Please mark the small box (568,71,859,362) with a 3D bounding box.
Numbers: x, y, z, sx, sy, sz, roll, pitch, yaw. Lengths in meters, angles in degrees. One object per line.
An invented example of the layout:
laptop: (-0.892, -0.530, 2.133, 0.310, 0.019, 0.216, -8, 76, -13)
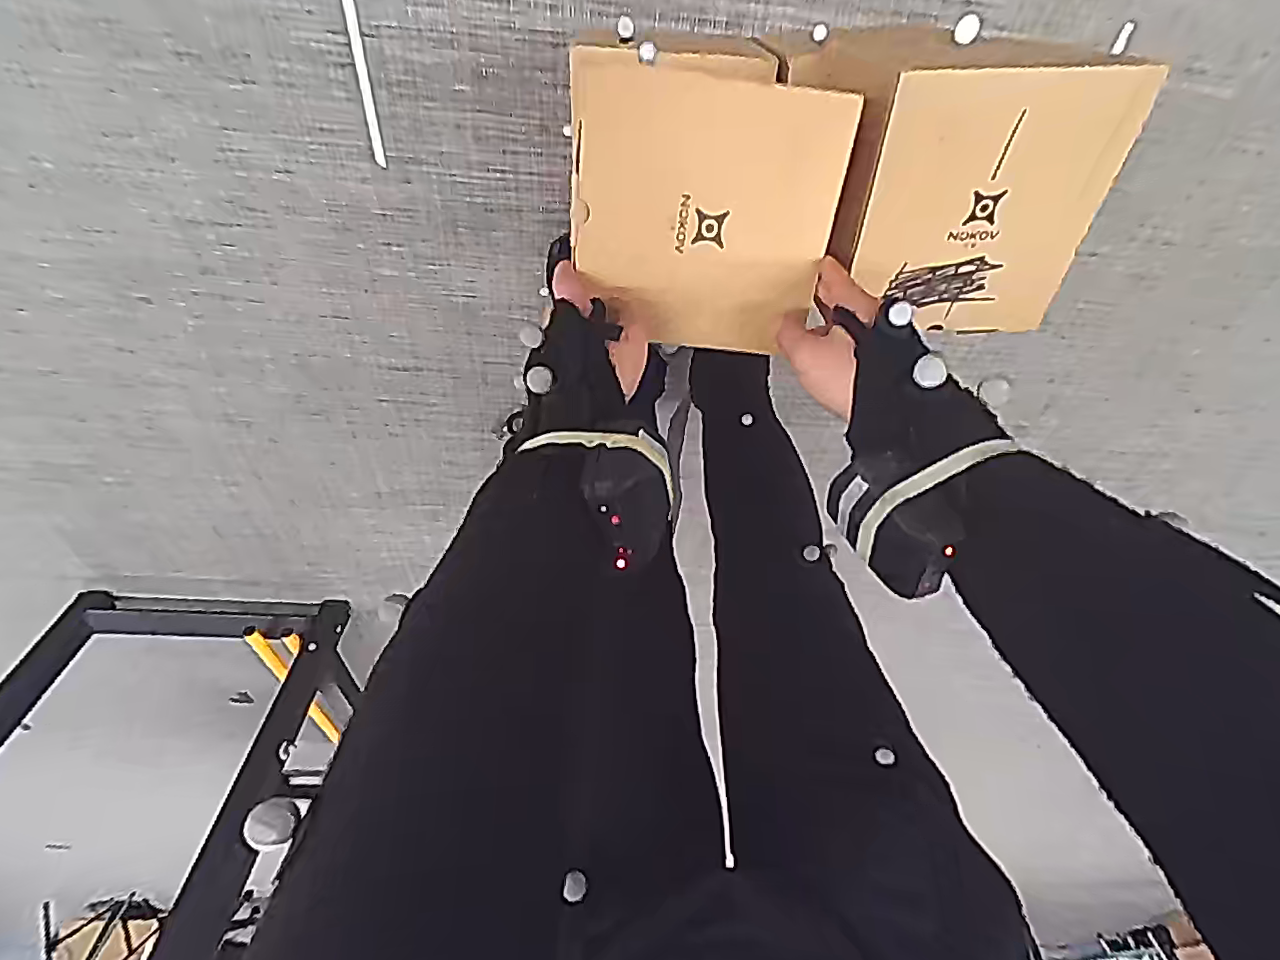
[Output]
small box: (0.041, -0.207, 0.436, 0.179, 0.176, 0.168, 5, 120, -3)
